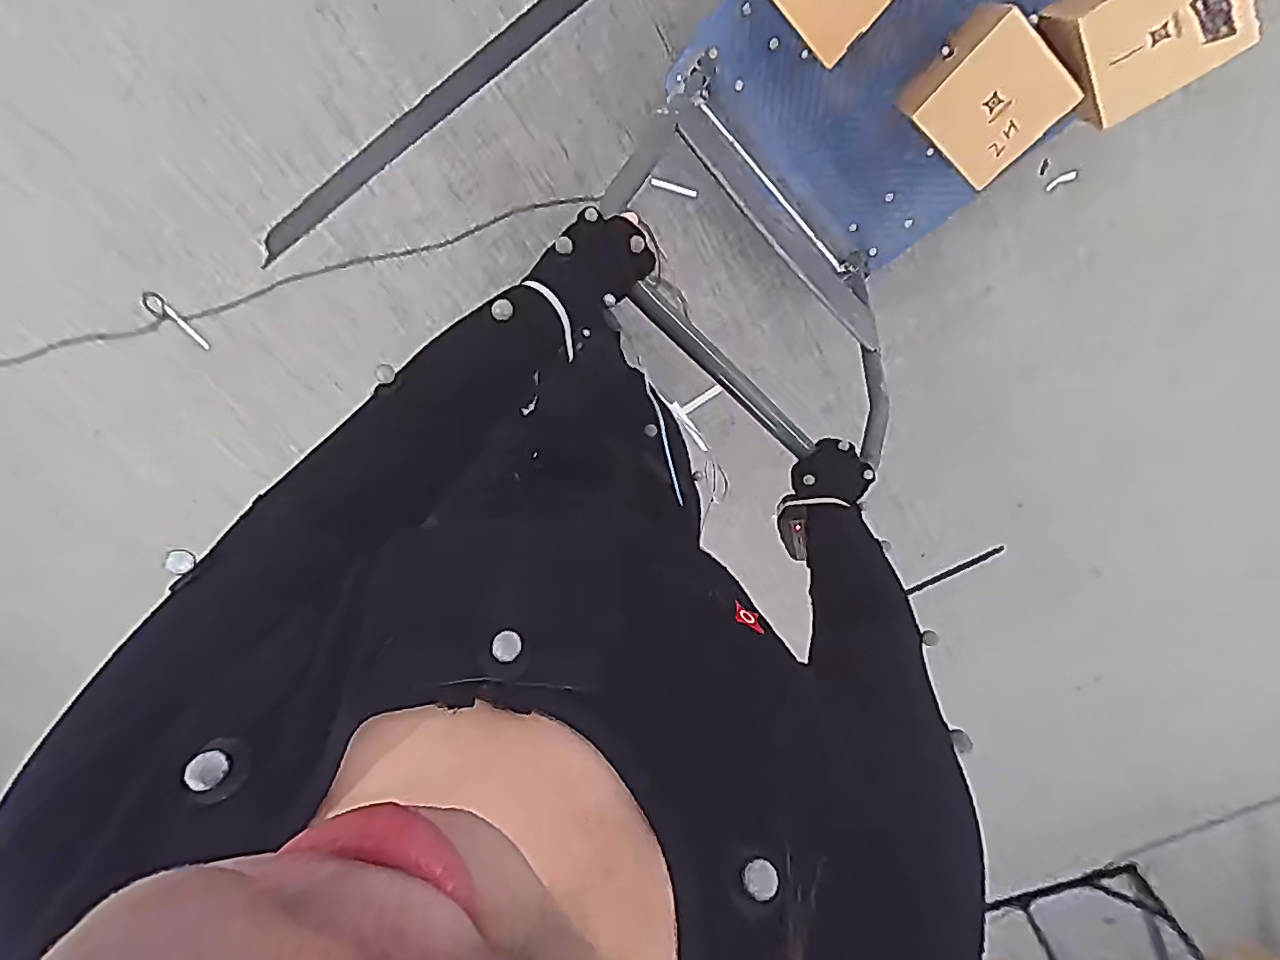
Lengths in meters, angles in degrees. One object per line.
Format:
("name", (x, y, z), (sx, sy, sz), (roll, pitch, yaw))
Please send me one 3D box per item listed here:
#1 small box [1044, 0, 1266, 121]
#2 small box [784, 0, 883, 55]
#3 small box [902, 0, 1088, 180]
("small box", (0.731, -0.672, 0.782), (0.179, 0.176, 0.168), (-24, 122, 32))
("small box", (0.287, -0.777, 0.793), (0.179, 0.176, 0.168), (35, 131, -21))
("small box", (0.552, -0.628, 0.867), (0.179, 0.176, 0.168), (34, 132, -17))
